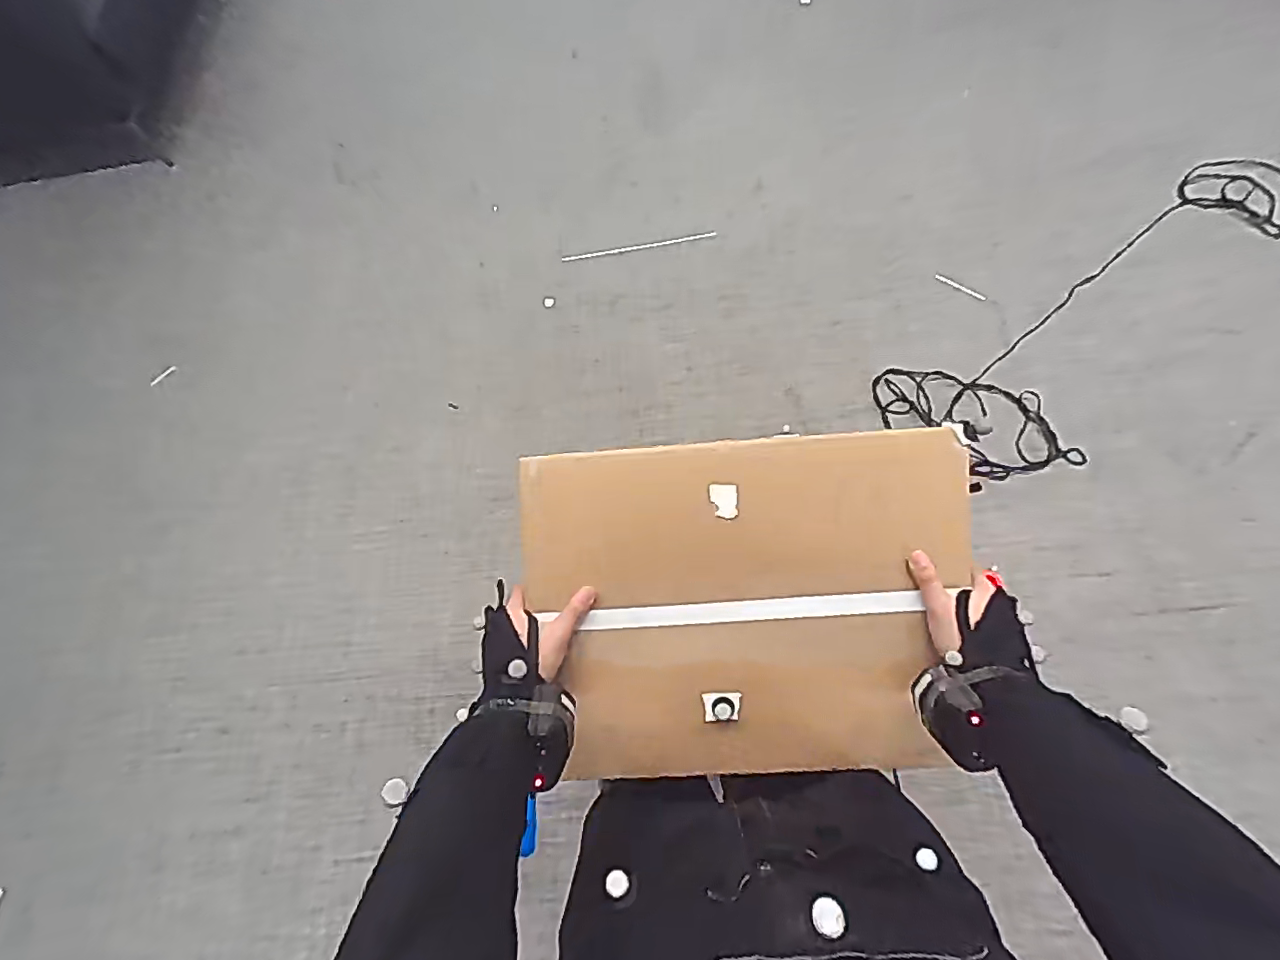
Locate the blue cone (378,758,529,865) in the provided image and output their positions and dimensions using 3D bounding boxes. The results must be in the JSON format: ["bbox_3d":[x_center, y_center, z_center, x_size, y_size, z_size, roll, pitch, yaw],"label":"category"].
[{"bbox_3d":[-0.354,0.645,1.009,0.192,0.380,0.193,-6,68,7],"label":"blue cone"}]

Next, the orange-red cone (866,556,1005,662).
[{"bbox_3d":[0.581,0.217,1.013,0.199,0.360,0.198,12,72,12],"label":"orange-red cone"}]
